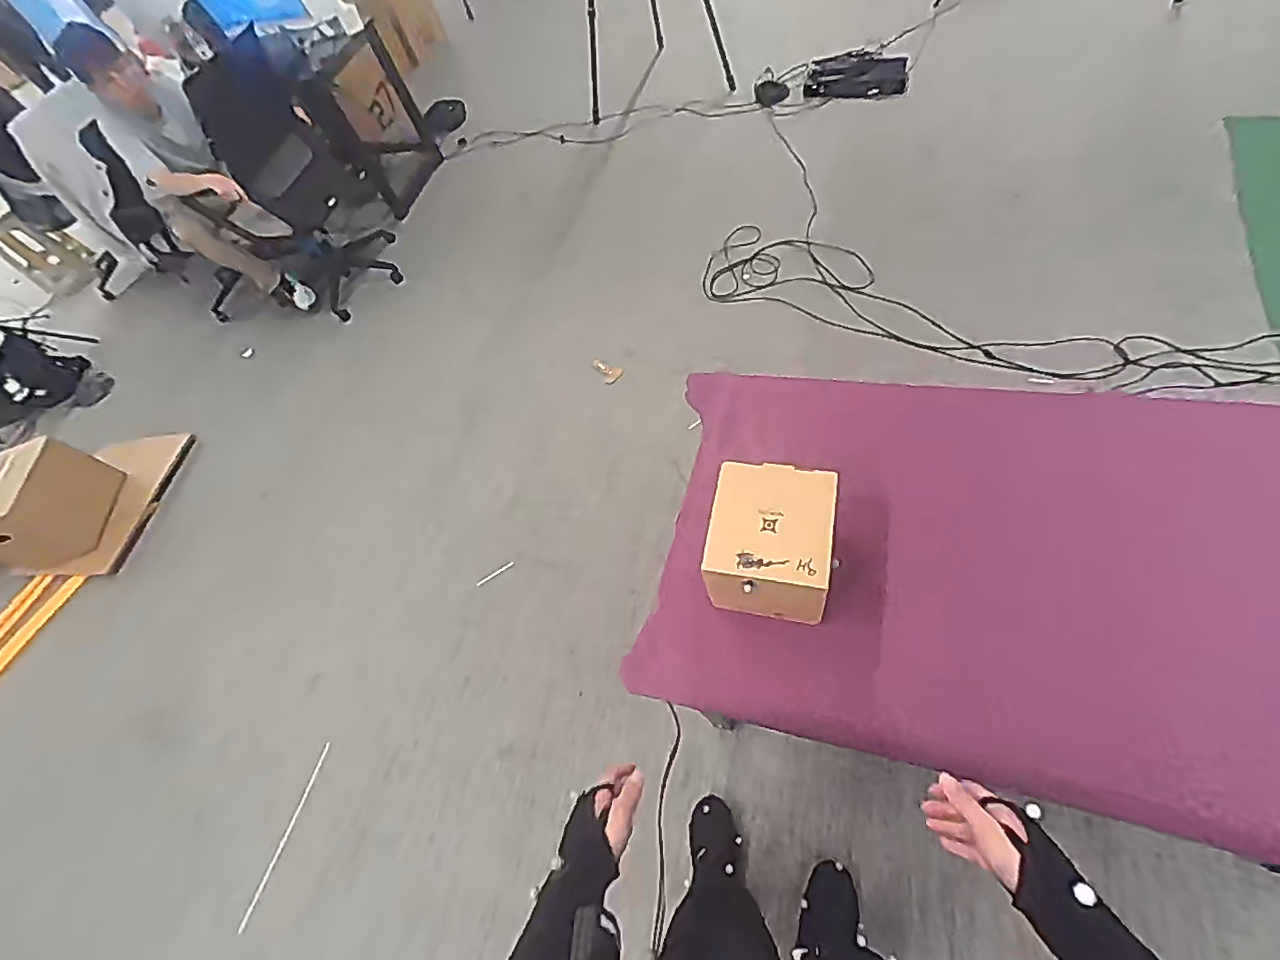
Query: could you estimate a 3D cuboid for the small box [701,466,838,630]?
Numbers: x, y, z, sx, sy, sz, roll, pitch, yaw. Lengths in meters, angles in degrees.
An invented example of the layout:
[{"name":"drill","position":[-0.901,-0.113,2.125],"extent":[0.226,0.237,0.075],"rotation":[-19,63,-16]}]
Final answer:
[{"name":"small box","position":[0.196,0.103,0.805],"extent":[0.168,0.176,0.179],"rotation":[6,61,19]}]
